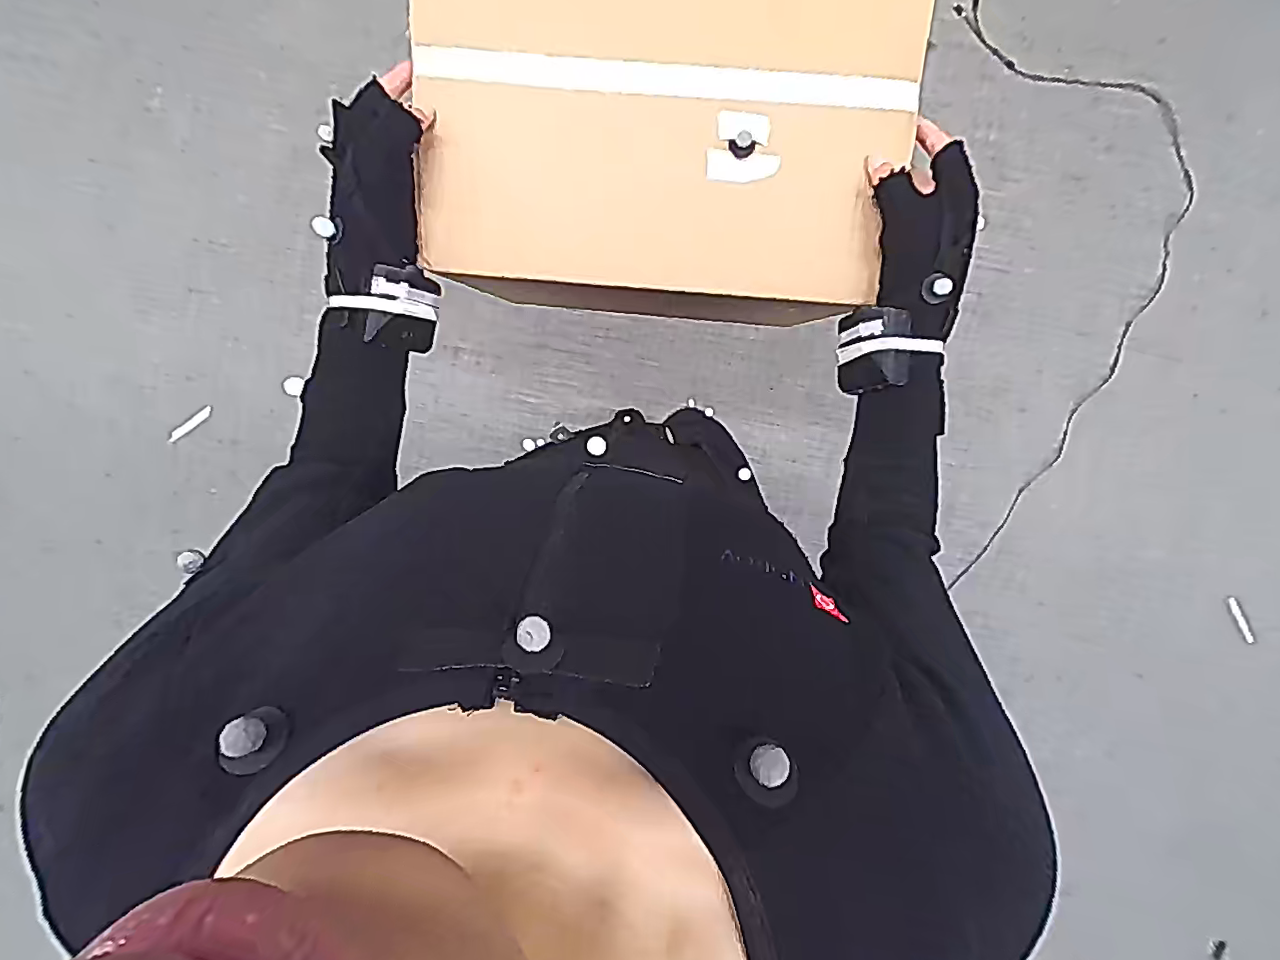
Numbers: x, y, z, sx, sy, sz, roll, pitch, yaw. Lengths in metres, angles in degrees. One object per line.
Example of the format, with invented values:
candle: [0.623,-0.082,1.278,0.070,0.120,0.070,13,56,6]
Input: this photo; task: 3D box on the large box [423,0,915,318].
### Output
large box: [0.019,-0.358,0.592,0.408,0.320,0.320,4,103,0]
